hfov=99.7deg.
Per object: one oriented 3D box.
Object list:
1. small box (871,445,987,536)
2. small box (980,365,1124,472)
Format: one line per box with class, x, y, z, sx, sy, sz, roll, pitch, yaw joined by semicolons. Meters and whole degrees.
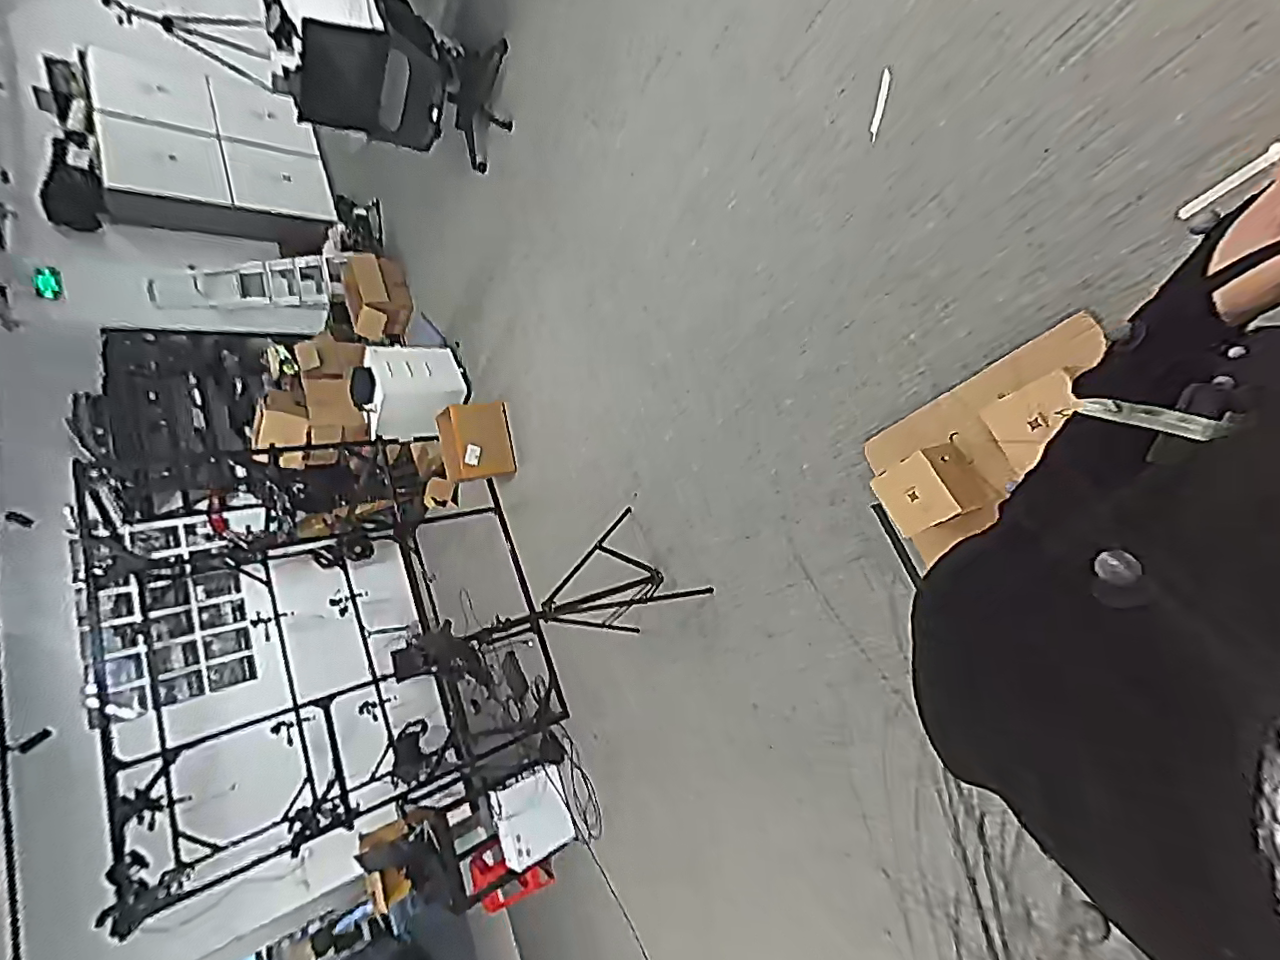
small box;0.747;0.022;1.397;0.168;0.176;0.179;-47;61;46
small box;0.895;-0.134;1.176;0.179;0.176;0.168;-39;68;47
